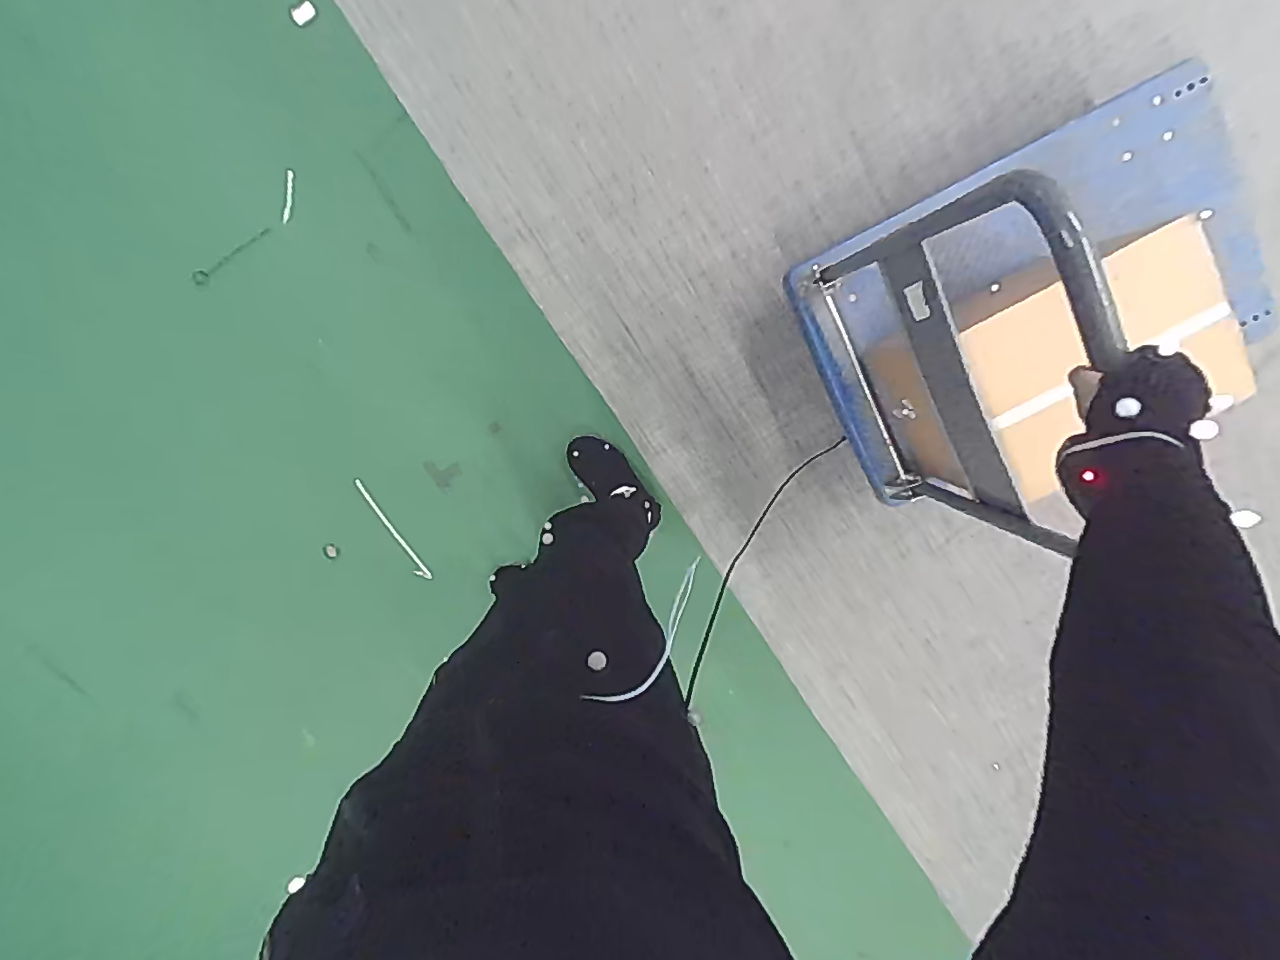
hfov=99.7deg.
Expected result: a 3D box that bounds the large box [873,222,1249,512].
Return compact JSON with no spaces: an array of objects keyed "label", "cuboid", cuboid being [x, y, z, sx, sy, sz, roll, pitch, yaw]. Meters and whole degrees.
[{"label":"large box","cuboid":[0.735,-0.194,1.010,0.408,0.320,0.320,-28,100,6]}]
